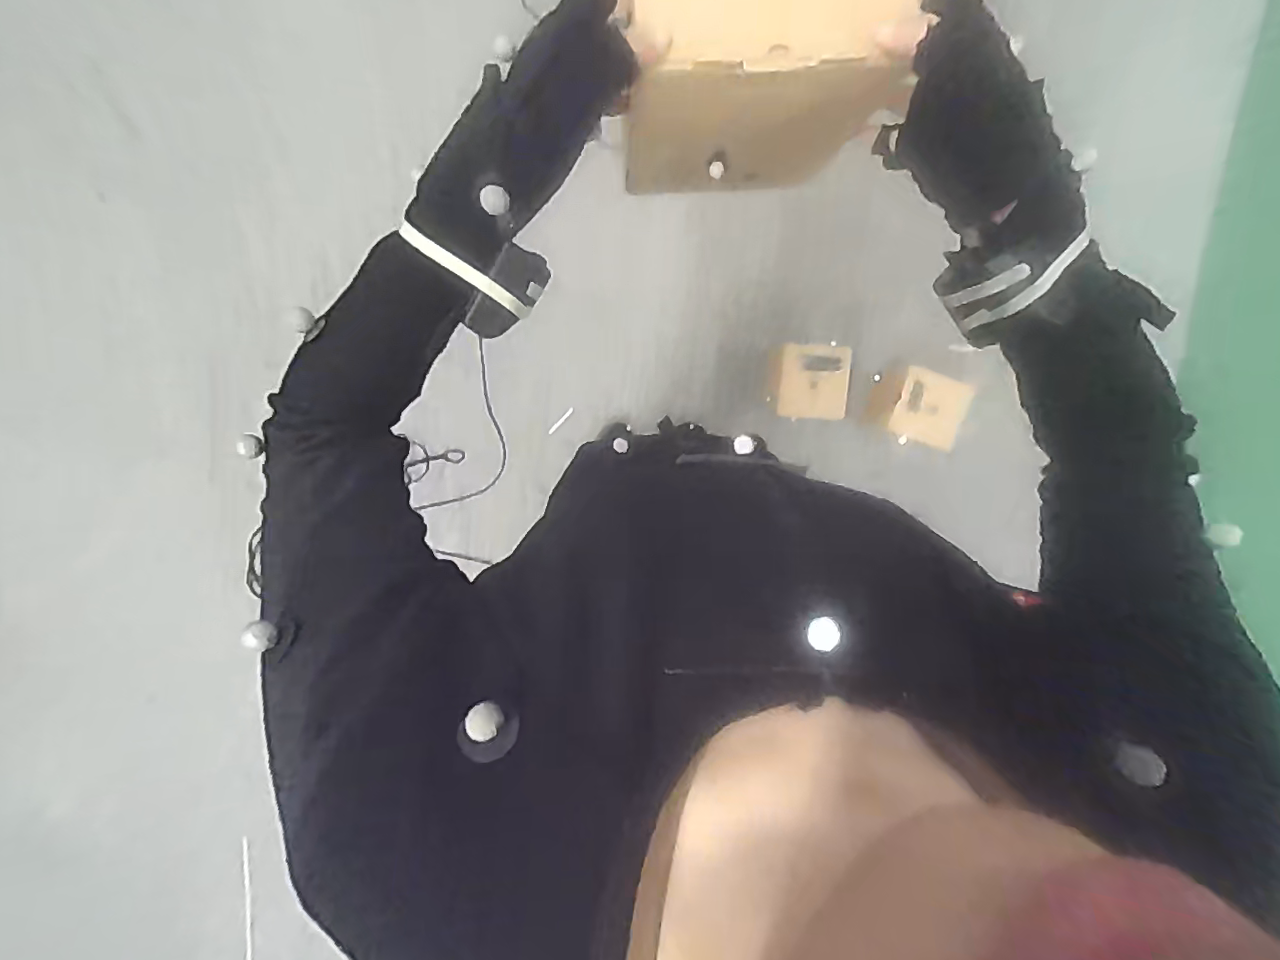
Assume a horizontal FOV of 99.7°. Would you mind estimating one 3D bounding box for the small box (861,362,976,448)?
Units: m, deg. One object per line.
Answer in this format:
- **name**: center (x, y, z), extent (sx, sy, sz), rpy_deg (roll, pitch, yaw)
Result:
- **small box**: center (0.699, -0.189, 1.382), extent (0.179, 0.176, 0.168), rpy_deg (19, 97, -5)
